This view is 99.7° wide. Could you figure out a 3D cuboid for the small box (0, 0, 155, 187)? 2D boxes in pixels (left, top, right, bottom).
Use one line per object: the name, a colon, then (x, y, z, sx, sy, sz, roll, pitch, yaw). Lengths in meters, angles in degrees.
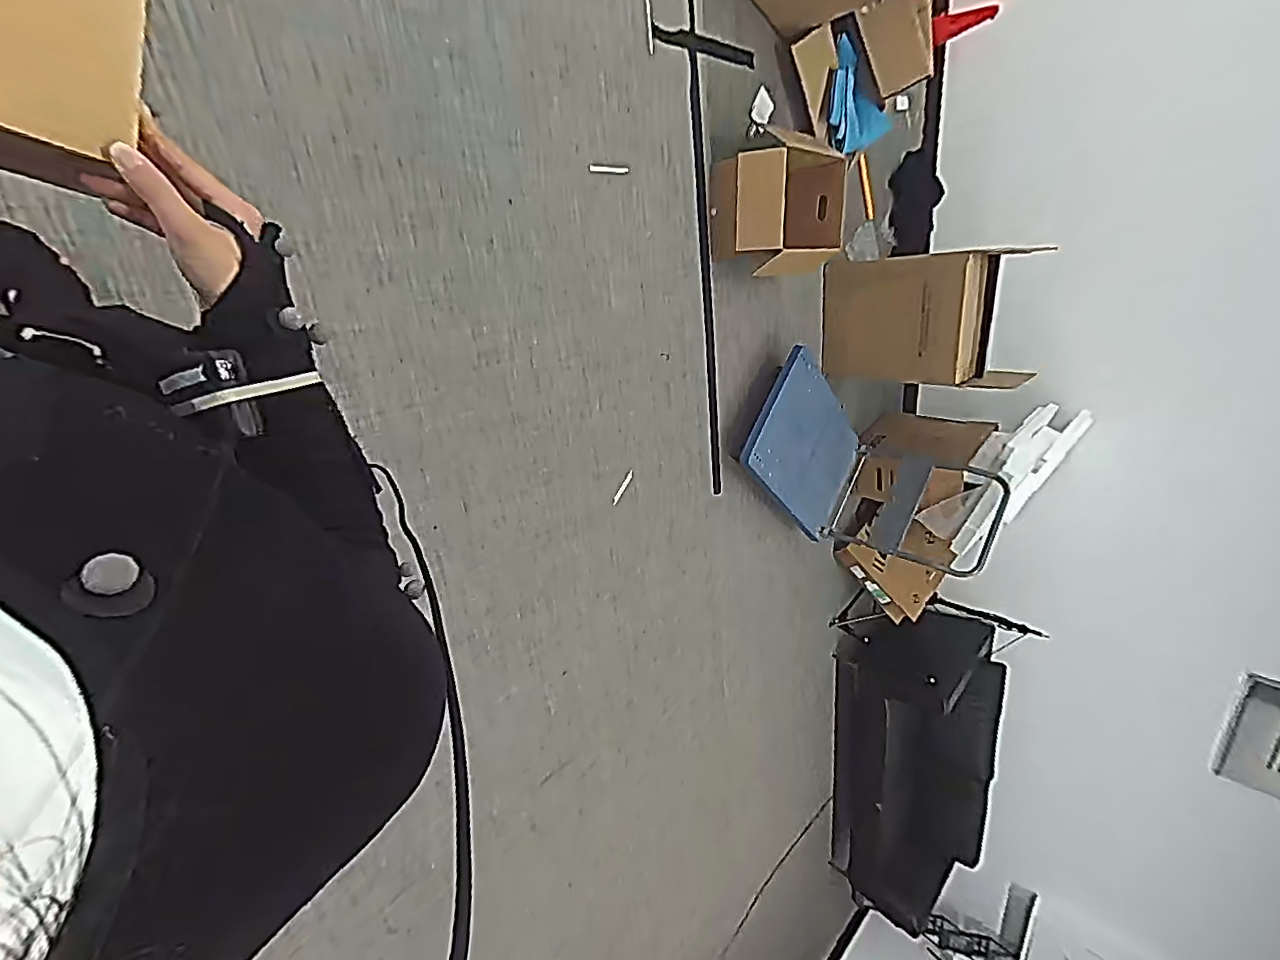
small box: (-0.404, -0.289, 0.308, 0.179, 0.176, 0.168, 3, 101, -46)
